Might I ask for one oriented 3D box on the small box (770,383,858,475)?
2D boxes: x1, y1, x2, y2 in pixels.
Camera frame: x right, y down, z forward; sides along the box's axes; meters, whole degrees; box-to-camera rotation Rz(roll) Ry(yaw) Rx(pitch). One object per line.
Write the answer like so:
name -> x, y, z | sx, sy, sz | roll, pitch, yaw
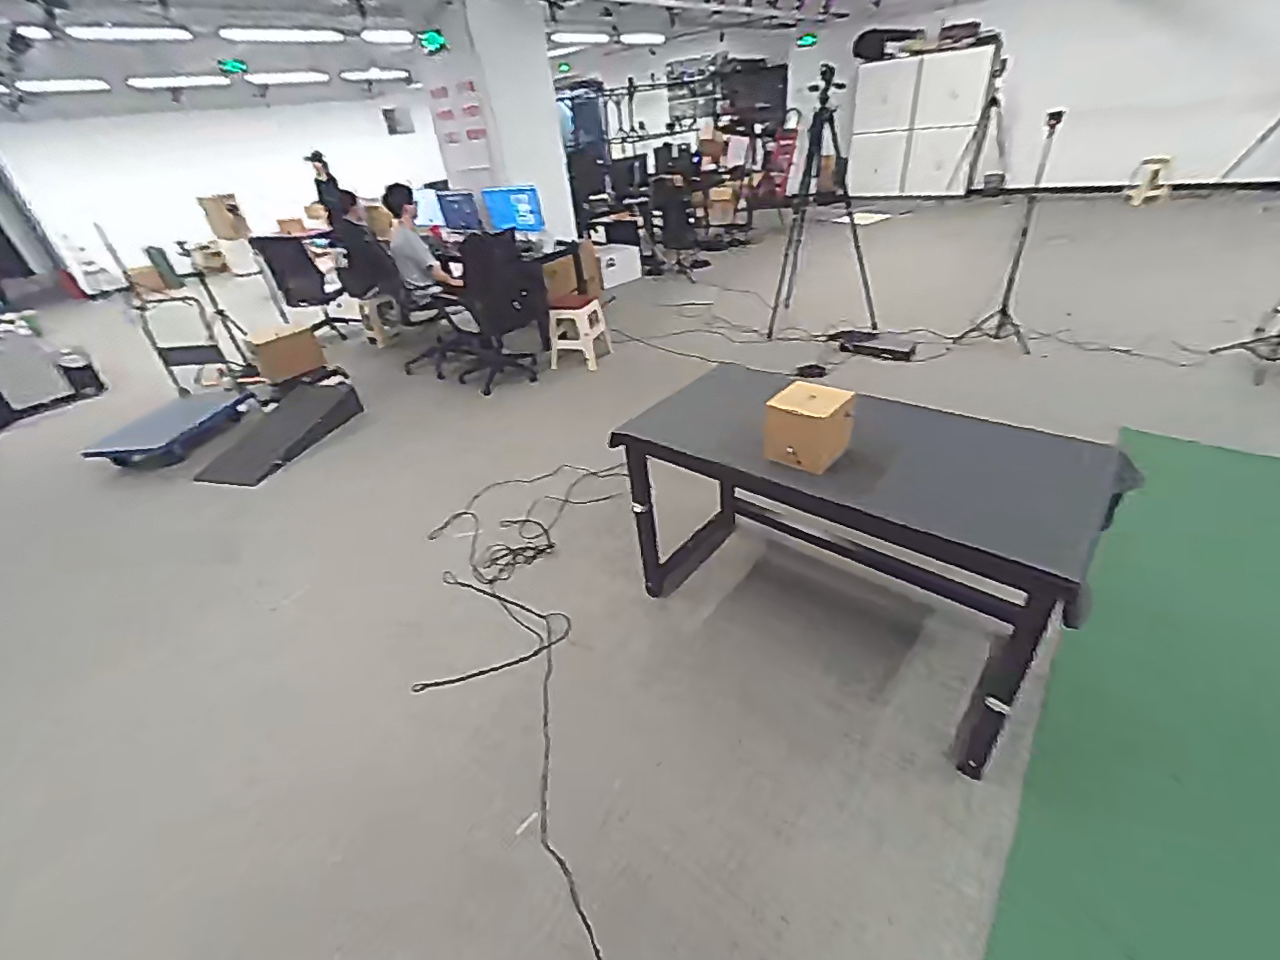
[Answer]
small box -> 0.458, -0.139, 1.444 | 0.168, 0.176, 0.179 | 22, 43, 38
